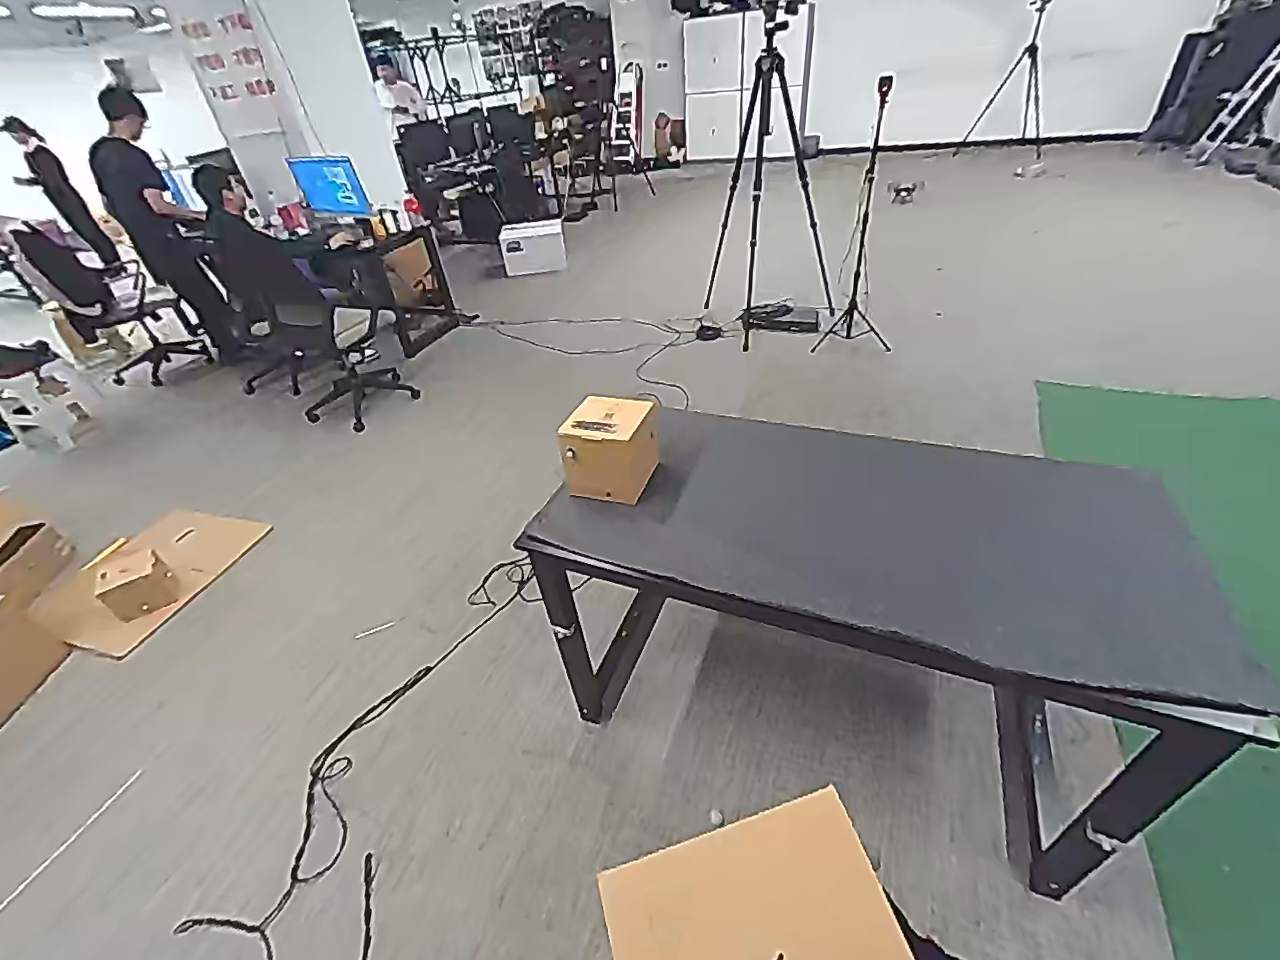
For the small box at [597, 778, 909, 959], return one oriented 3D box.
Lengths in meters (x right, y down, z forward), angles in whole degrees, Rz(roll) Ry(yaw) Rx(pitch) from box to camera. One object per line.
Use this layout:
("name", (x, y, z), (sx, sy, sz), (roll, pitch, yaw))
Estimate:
("small box", (0.078, 0.333, 0.366), (0.168, 0.176, 0.179), (-17, 54, -5))
